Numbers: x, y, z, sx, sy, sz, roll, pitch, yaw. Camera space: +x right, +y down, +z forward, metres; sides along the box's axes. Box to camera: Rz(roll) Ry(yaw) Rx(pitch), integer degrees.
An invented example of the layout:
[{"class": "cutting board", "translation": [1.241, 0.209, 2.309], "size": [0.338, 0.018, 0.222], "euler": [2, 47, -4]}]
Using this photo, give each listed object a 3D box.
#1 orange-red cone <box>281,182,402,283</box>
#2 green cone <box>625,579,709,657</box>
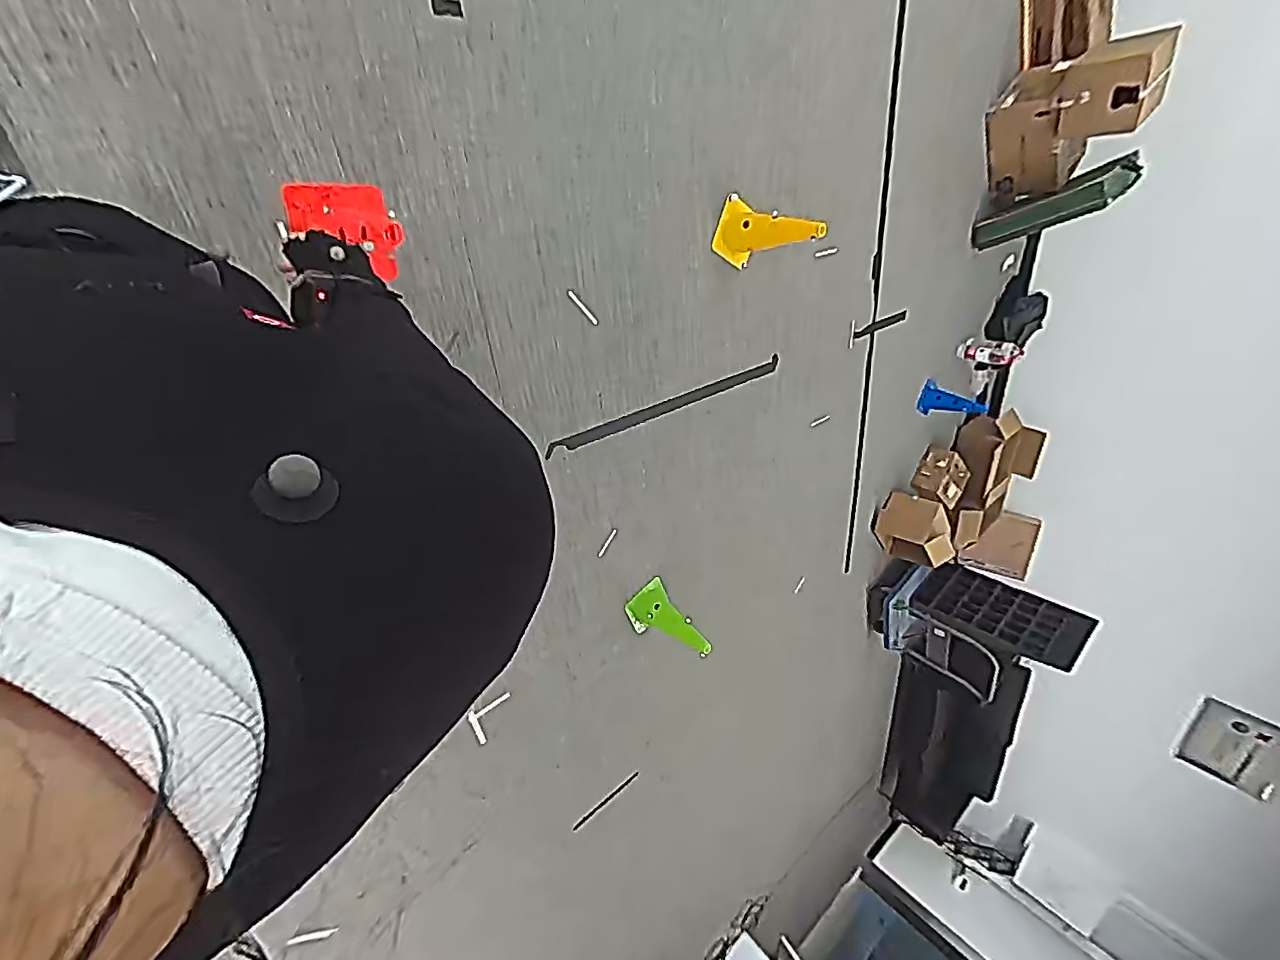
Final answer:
[{"class": "orange-red cone", "translation": [-0.549, -0.486, 1.071], "size": [0.199, 0.360, 0.198], "euler": [-19, 121, -37]}, {"class": "green cone", "translation": [0.140, 0.591, 2.173], "size": [0.202, 0.368, 0.200], "euler": [-39, 130, -21]}]
